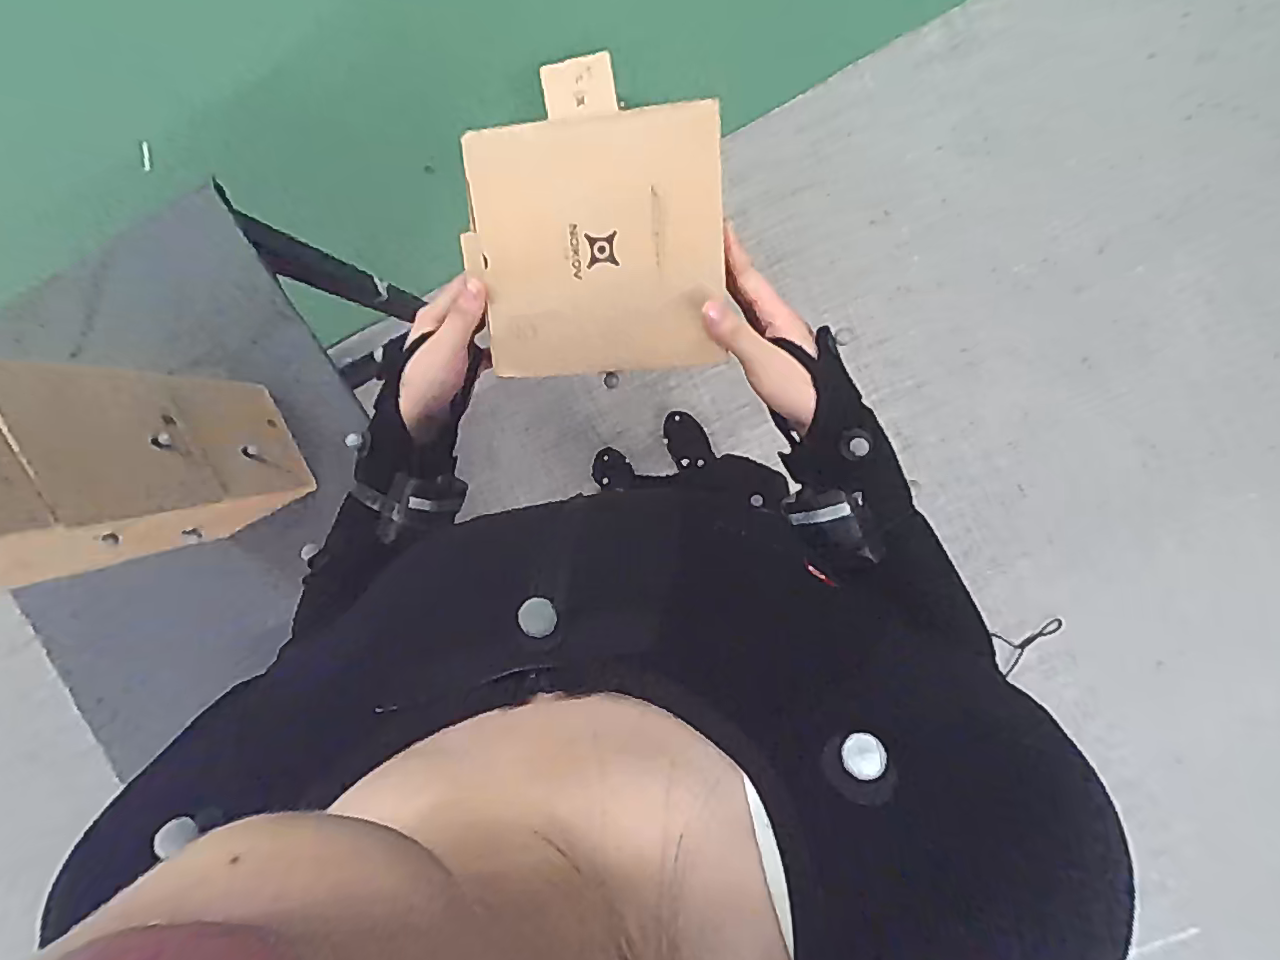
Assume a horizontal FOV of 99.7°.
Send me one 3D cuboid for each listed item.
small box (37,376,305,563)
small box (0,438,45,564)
[{"bbox_3d":[-0.576,-0.021,0.697,0.179,0.176,0.168,-26,94,7],"label":"small box"},{"bbox_3d":[-0.598,0.020,0.372,0.179,0.176,0.168,-29,95,8],"label":"small box"}]
